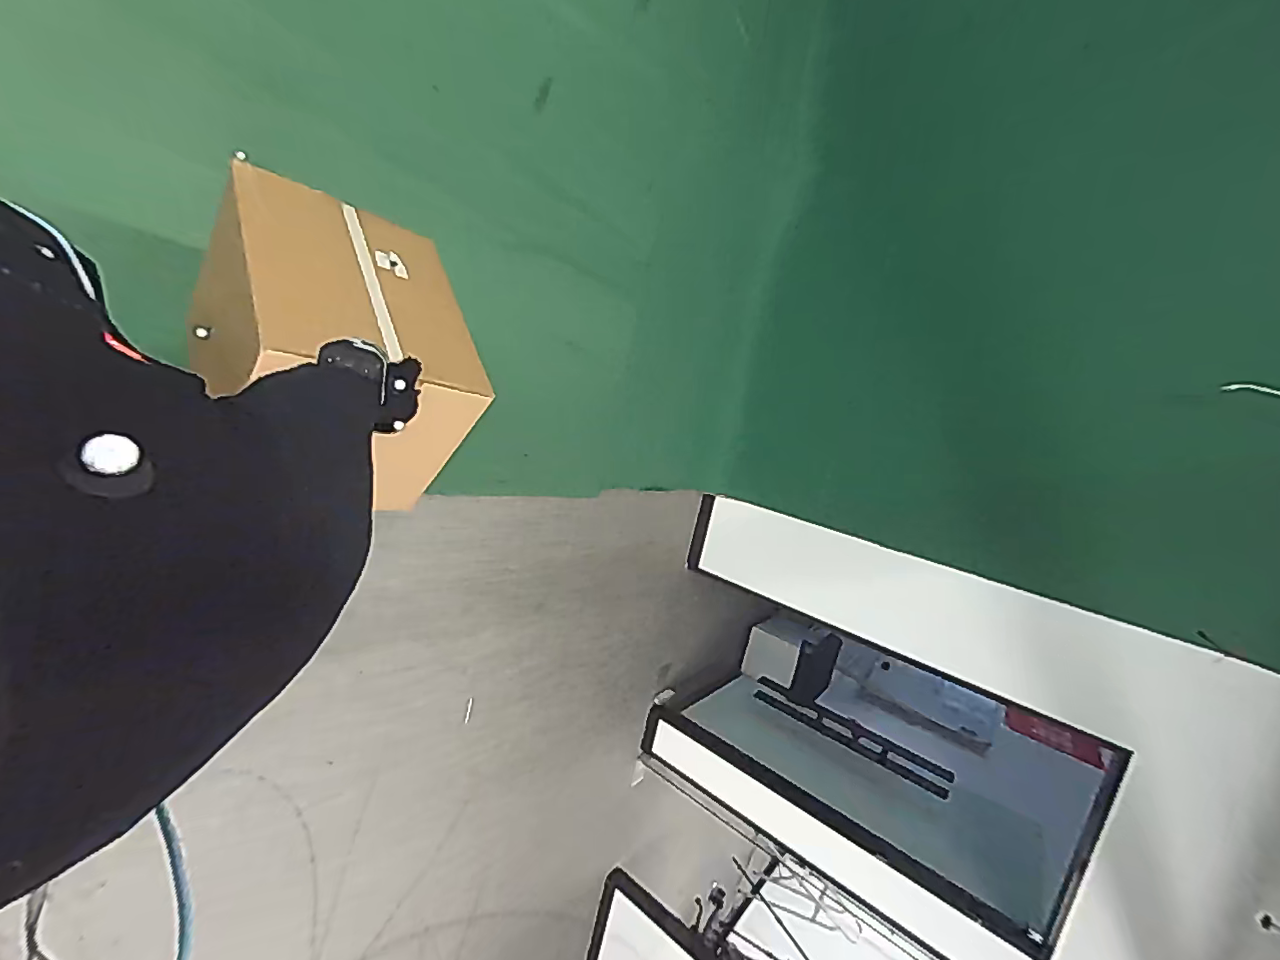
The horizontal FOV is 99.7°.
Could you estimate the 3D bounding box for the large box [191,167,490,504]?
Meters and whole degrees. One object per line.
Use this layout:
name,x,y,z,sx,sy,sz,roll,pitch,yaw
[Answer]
large box,-0.512,-0.206,0.899,0.320,0.408,0.320,7,138,-50
